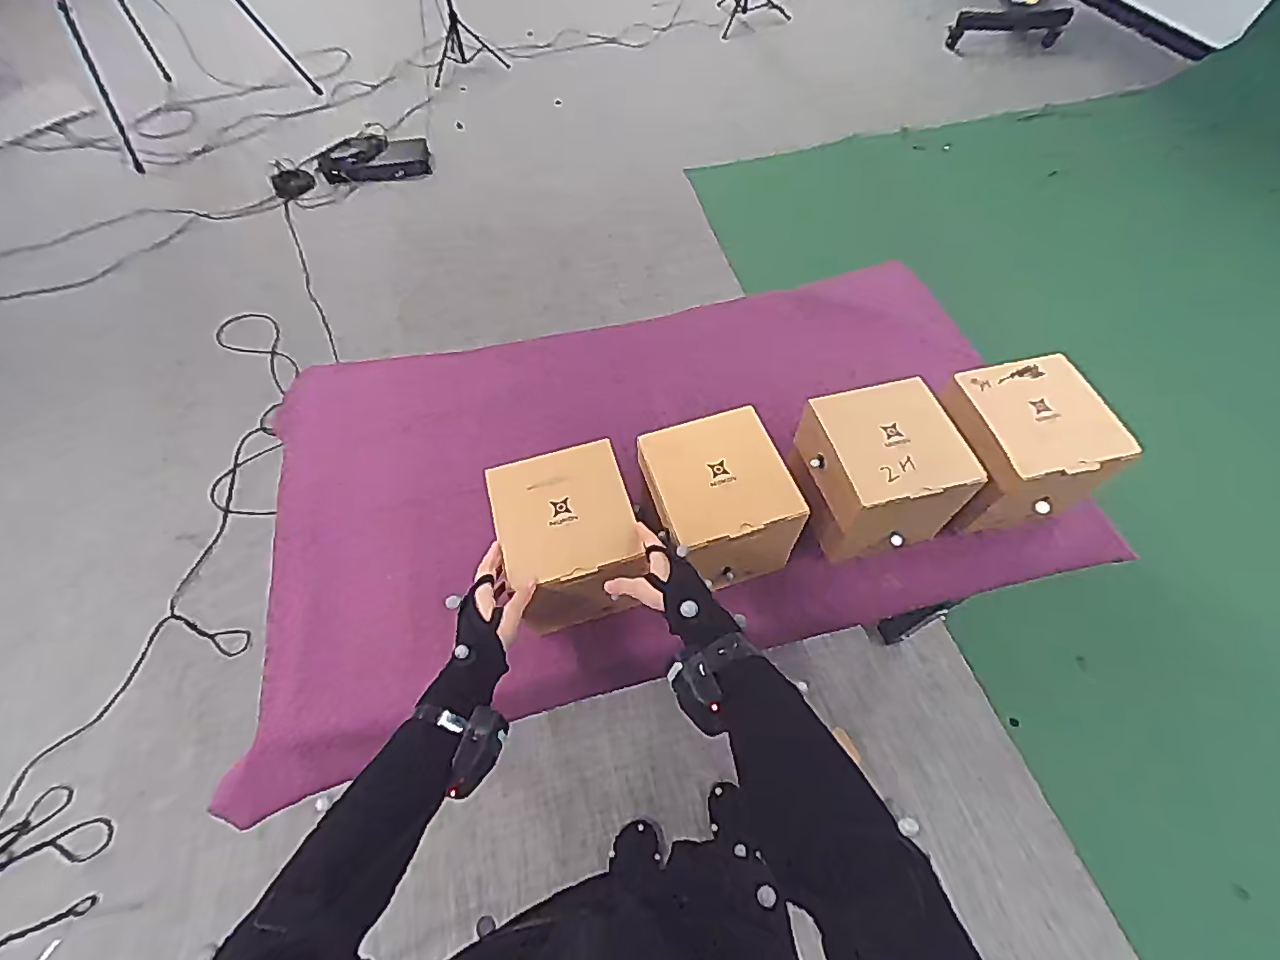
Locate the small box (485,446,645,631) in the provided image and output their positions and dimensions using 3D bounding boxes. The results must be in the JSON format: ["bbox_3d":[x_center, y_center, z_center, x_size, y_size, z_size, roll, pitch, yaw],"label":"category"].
[{"bbox_3d":[-0.092,0.087,0.718,0.168,0.176,0.179,-15,59,-7],"label":"small box"}]
